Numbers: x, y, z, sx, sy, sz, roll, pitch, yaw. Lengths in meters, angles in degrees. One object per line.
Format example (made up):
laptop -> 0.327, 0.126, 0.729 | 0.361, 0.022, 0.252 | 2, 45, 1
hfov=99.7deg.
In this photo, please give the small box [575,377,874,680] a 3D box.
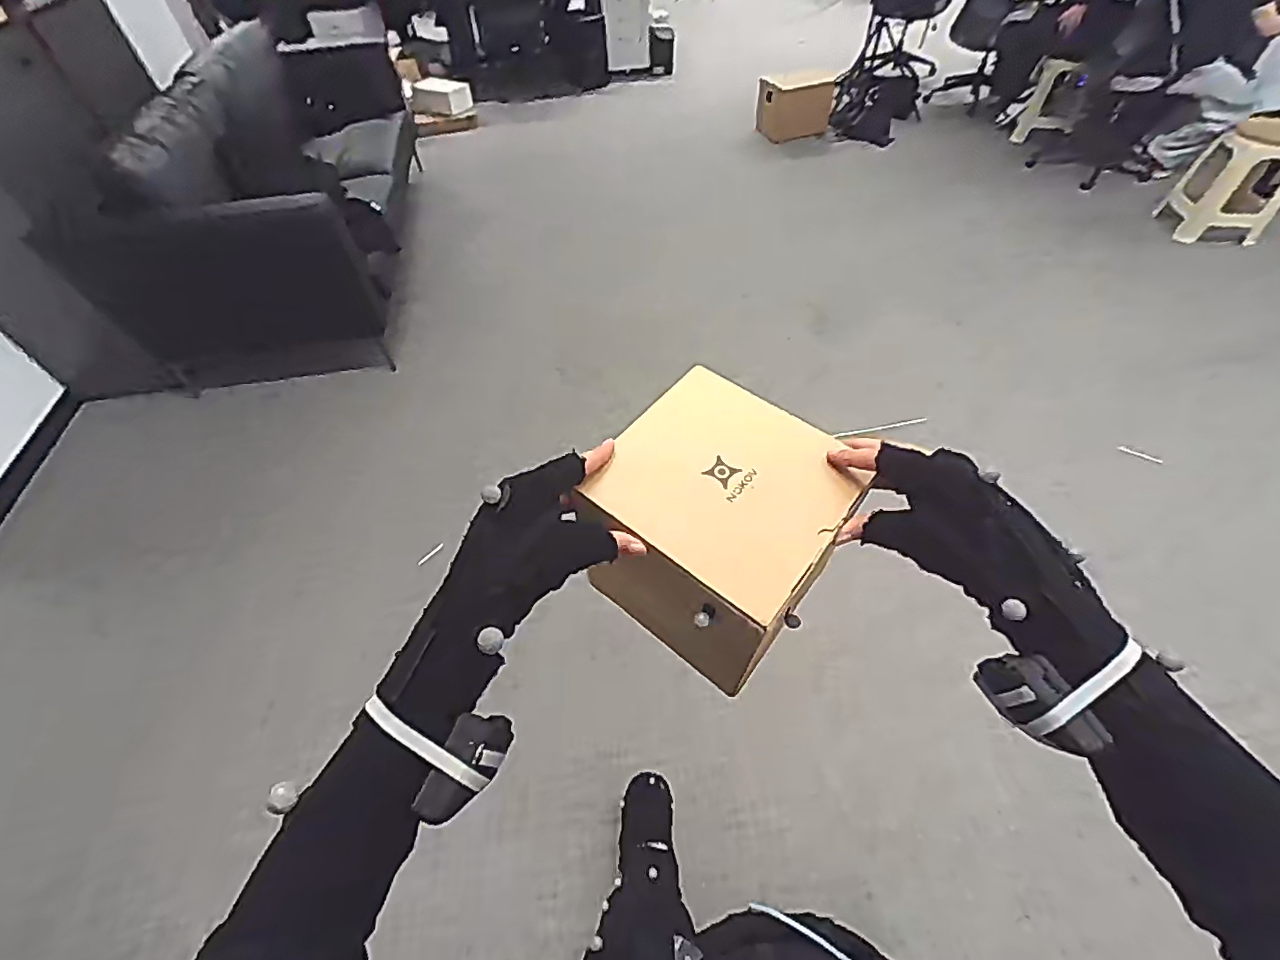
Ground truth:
small box -> 0.065, 0.048, 0.481 | 0.179, 0.176, 0.168 | 35, 62, 21
